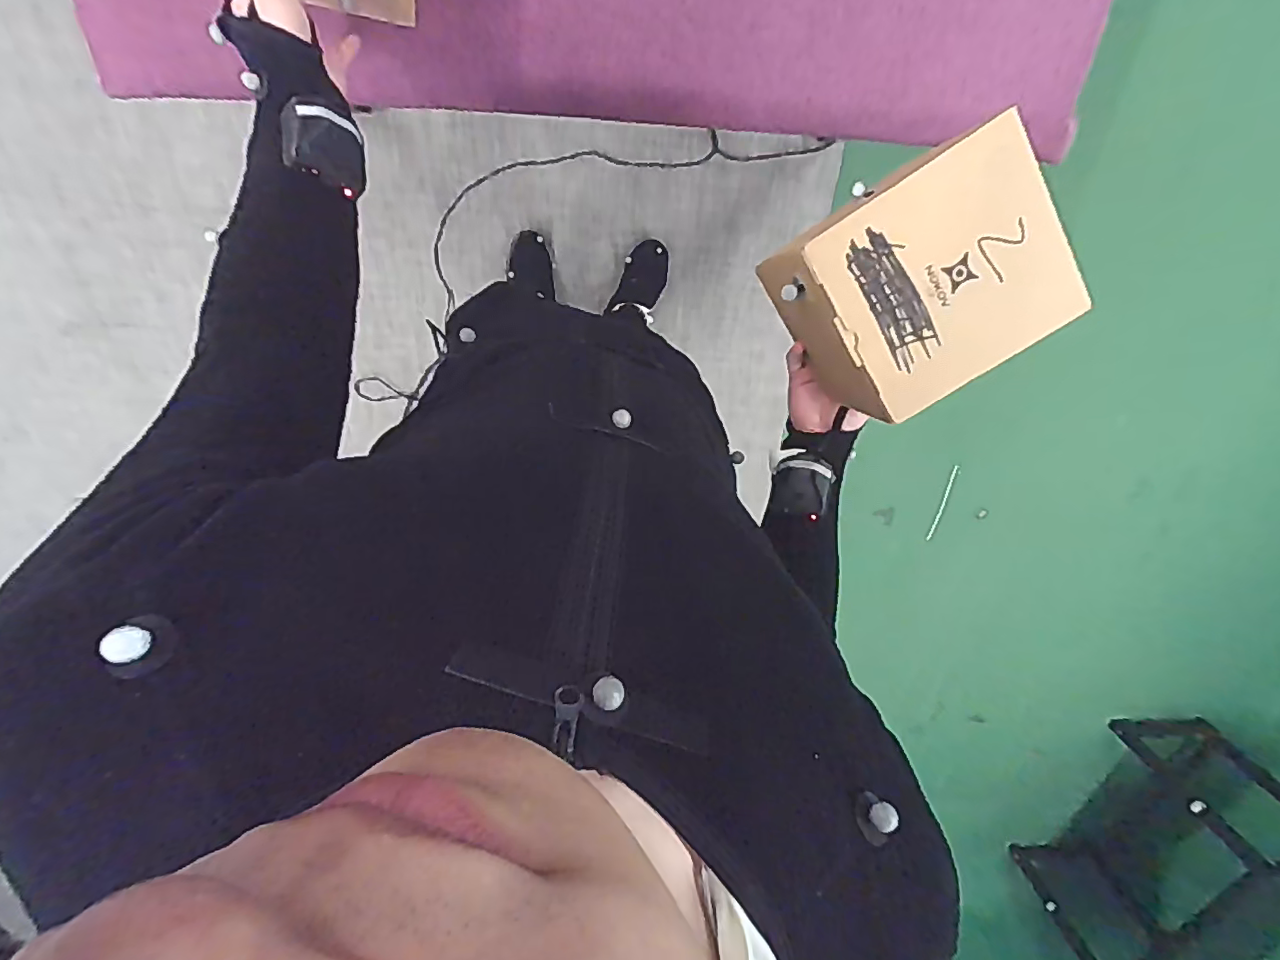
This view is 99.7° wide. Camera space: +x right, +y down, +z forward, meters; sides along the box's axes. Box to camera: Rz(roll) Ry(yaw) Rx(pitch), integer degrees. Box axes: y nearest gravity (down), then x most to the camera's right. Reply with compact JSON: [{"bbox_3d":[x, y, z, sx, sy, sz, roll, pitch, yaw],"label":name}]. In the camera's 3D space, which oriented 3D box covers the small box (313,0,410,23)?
[{"bbox_3d":[-0.314,-0.564,0.495,0.168,0.176,0.179,6,114,-11],"label":"small box"}]
